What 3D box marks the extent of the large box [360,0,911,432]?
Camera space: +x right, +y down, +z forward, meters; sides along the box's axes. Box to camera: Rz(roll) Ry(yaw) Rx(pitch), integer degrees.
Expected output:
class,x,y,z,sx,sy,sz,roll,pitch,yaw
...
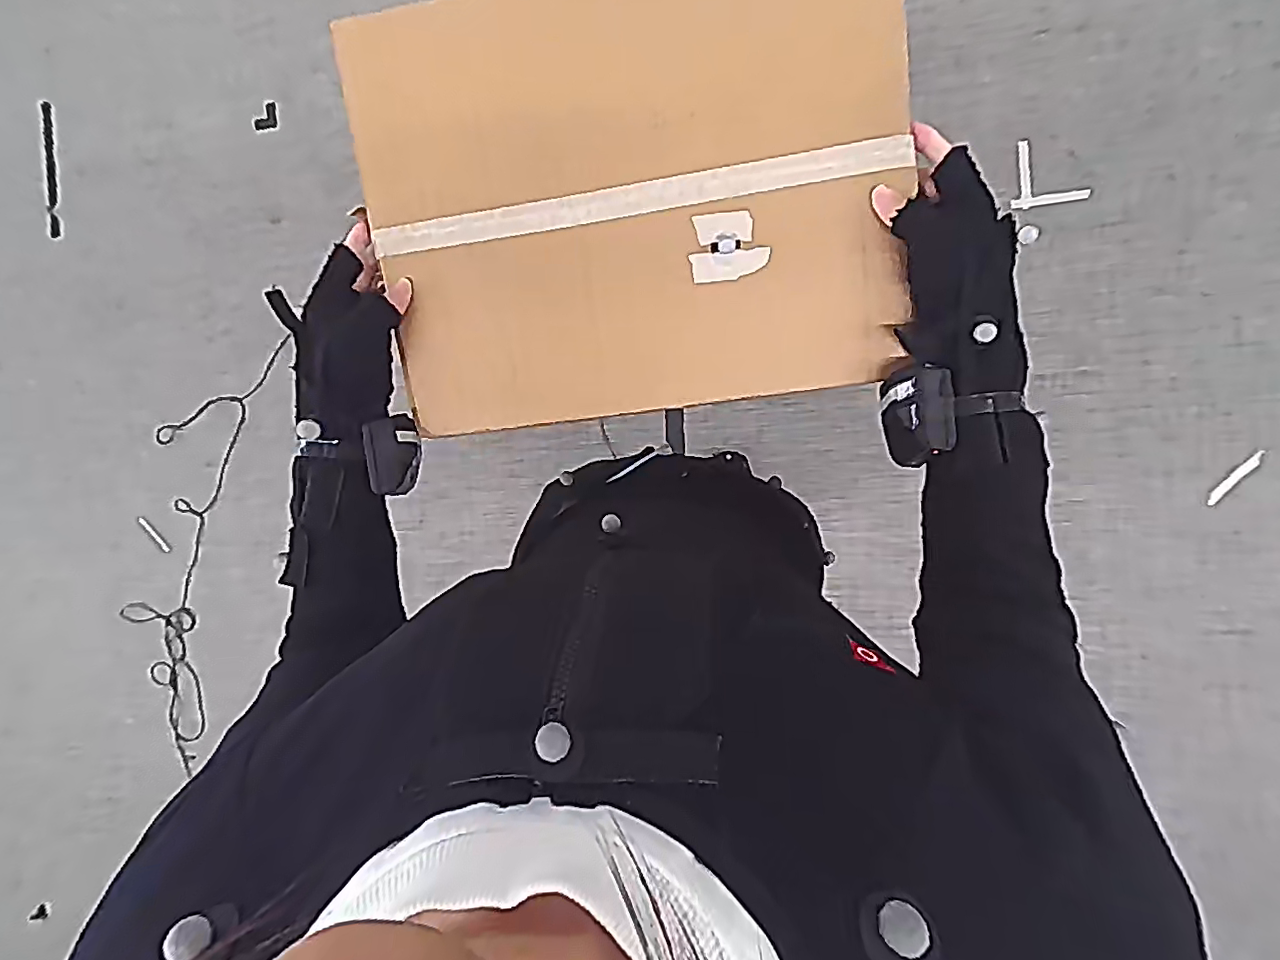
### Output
class,x,y,z,sx,sy,sz,roll,pitch,yaw
large box,0.008,-0.240,0.567,0.408,0.320,0.320,-7,100,6
